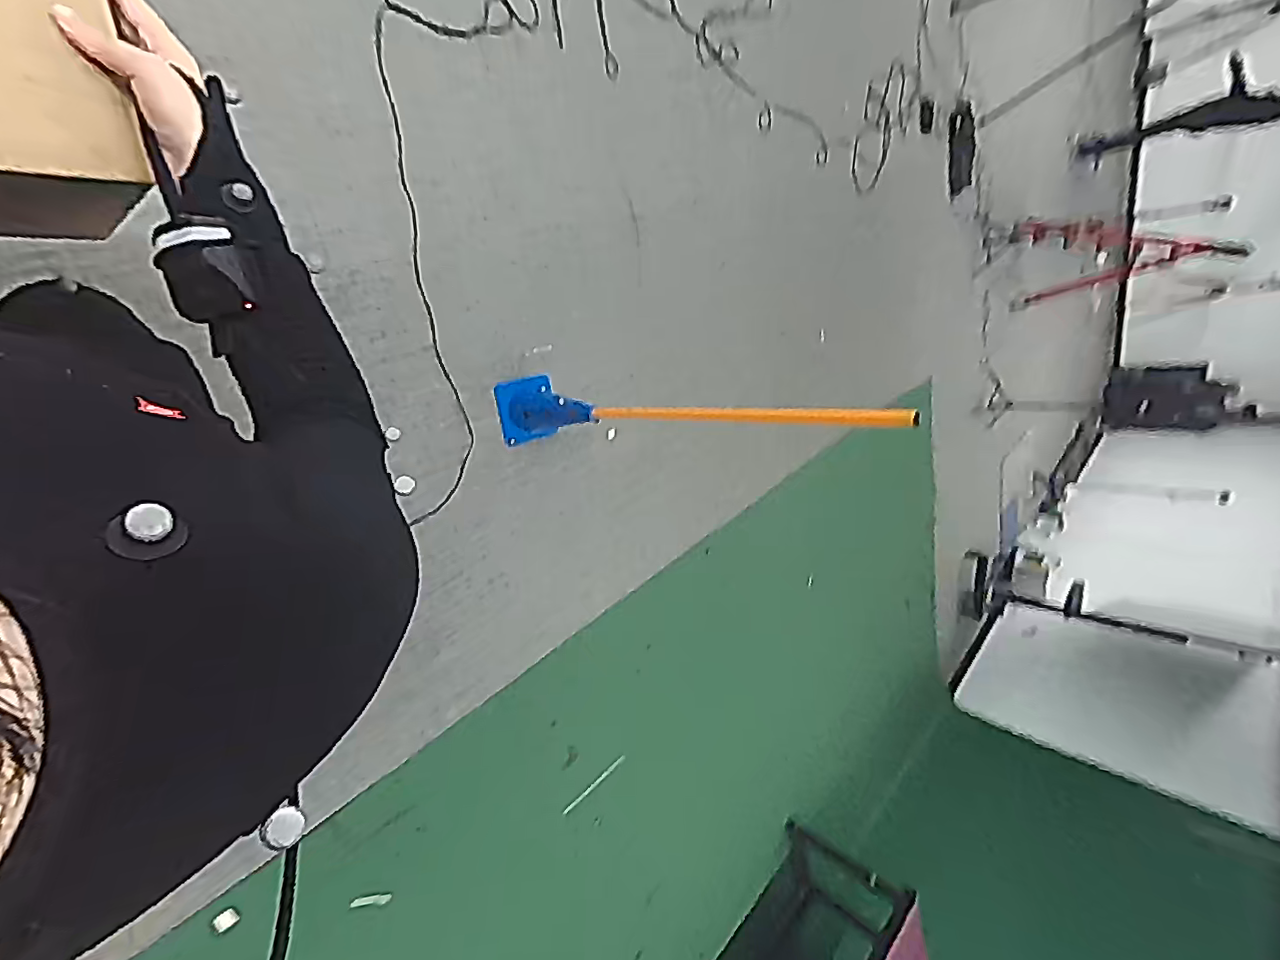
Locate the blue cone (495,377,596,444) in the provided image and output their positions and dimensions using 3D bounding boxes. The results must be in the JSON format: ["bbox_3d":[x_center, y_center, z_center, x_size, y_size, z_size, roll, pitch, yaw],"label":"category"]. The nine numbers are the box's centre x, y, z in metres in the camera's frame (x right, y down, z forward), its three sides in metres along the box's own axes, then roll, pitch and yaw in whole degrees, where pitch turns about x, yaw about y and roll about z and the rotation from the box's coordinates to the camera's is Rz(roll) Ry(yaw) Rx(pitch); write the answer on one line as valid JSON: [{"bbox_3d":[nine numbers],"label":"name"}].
[{"bbox_3d":[-0.260,-0.204,1.608,0.193,0.380,0.192,-21,112,-39],"label":"blue cone"}]

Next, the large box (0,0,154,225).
[{"bbox_3d":[-0.615,-0.348,0.313,0.408,0.320,0.320,-22,116,-47],"label":"large box"}]
